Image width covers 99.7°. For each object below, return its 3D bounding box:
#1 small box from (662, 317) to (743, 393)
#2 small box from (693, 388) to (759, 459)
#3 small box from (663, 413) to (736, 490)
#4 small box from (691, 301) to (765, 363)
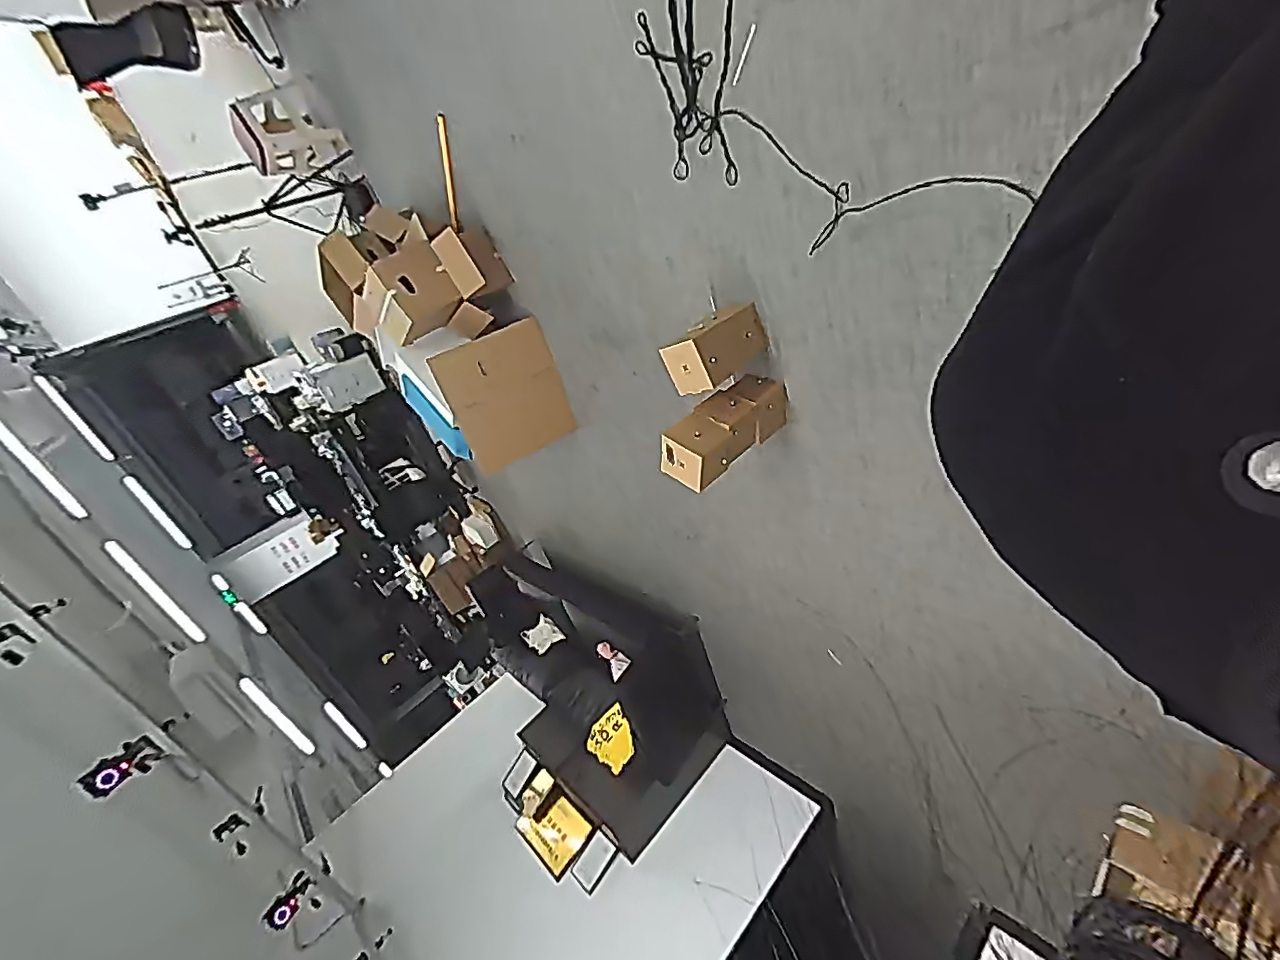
[{"bbox_3d":[0.213,-0.413,1.798,0.168,0.176,0.179,-1,122,54],"label":"small box"},{"bbox_3d":[0.306,-0.195,1.910,0.168,0.176,0.179,30,143,35],"label":"small box"},{"bbox_3d":[0.198,-0.105,1.824,0.179,0.176,0.168,33,144,30],"label":"small box"},{"bbox_3d":[0.314,-0.508,1.885,0.179,0.176,0.168,6,127,52],"label":"small box"}]
